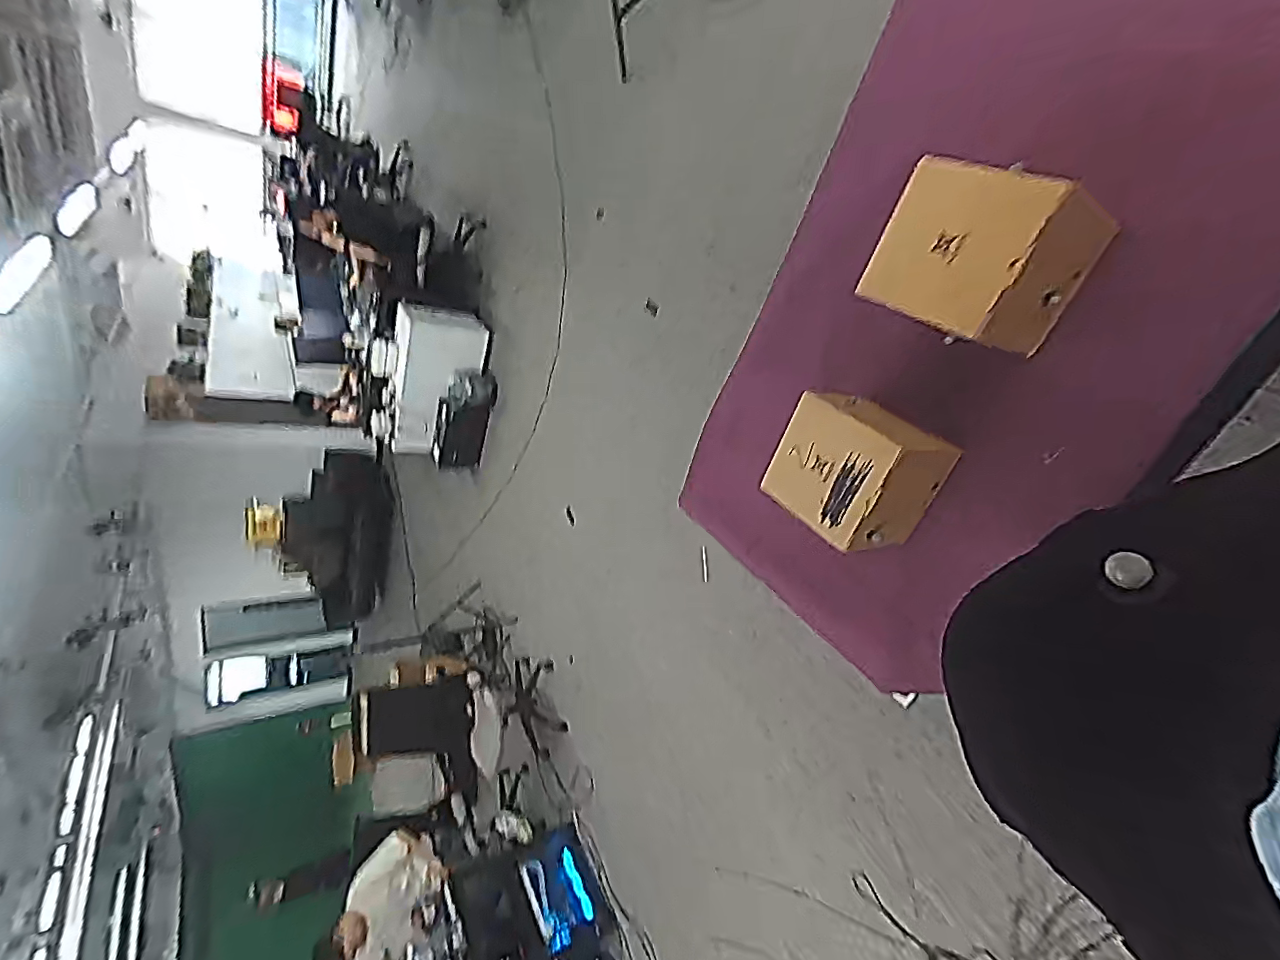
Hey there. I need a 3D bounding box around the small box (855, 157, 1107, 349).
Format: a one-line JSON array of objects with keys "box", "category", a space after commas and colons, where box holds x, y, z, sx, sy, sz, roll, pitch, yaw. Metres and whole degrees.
[{"box": [0.417, -0.275, 0.673, 0.179, 0.176, 0.168, 47, 127, 42], "category": "small box"}]
